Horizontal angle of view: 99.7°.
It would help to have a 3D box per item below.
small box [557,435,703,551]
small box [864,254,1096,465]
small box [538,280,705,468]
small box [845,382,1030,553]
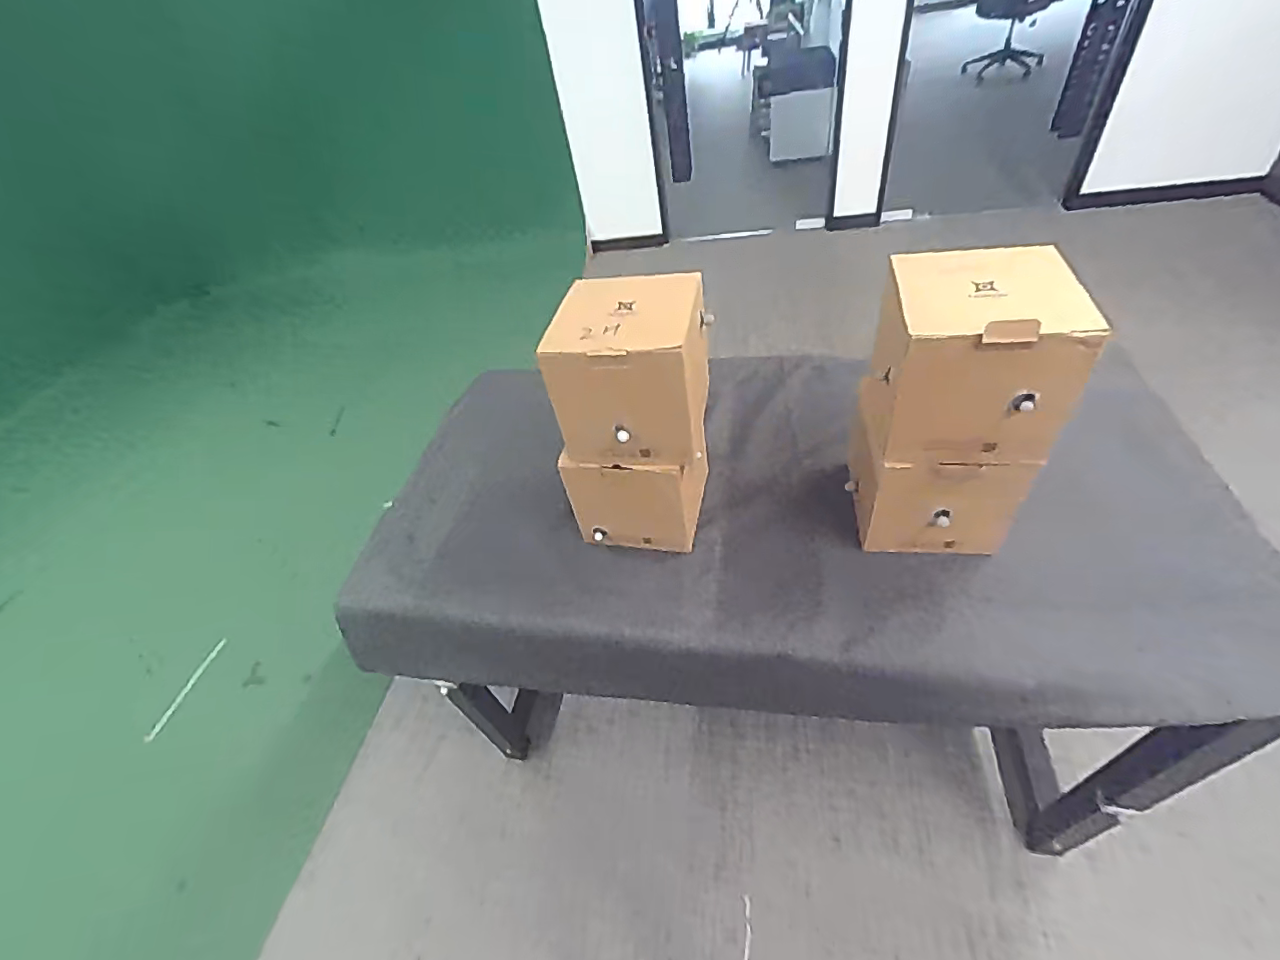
[{"bbox_3d":[-0.001,-0.013,0.804,0.168,0.176,0.179,4,45,15],"label":"small box"},{"bbox_3d":[0.357,-0.132,0.611,0.168,0.176,0.179,2,45,14],"label":"small box"},{"bbox_3d":[-0.009,-0.135,0.692,0.168,0.176,0.179,1,45,14],"label":"small box"},{"bbox_3d":[0.377,-0.018,0.724,0.168,0.176,0.179,0,46,12],"label":"small box"}]
